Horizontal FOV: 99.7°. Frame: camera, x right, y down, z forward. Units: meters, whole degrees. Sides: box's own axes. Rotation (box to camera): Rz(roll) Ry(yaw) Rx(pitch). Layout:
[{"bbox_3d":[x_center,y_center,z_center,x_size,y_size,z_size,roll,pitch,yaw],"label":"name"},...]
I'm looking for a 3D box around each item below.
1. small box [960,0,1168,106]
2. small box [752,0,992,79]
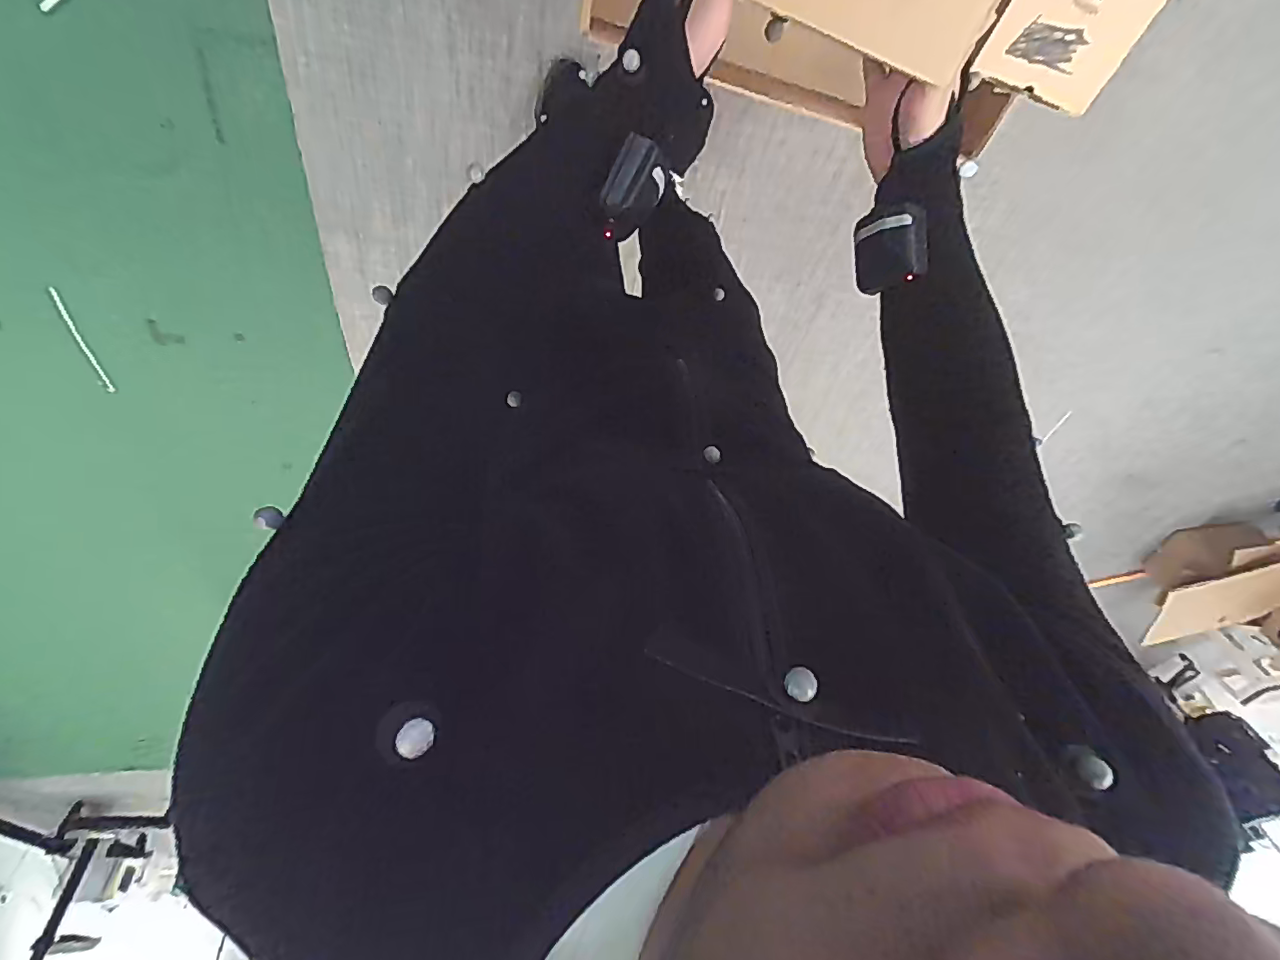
[{"bbox_3d":[0.437,-0.542,0.575,0.168,0.176,0.179,7,136,-16],"label":"small box"},{"bbox_3d":[0.160,-0.414,0.362,0.168,0.176,0.179,10,134,-15],"label":"small box"}]
